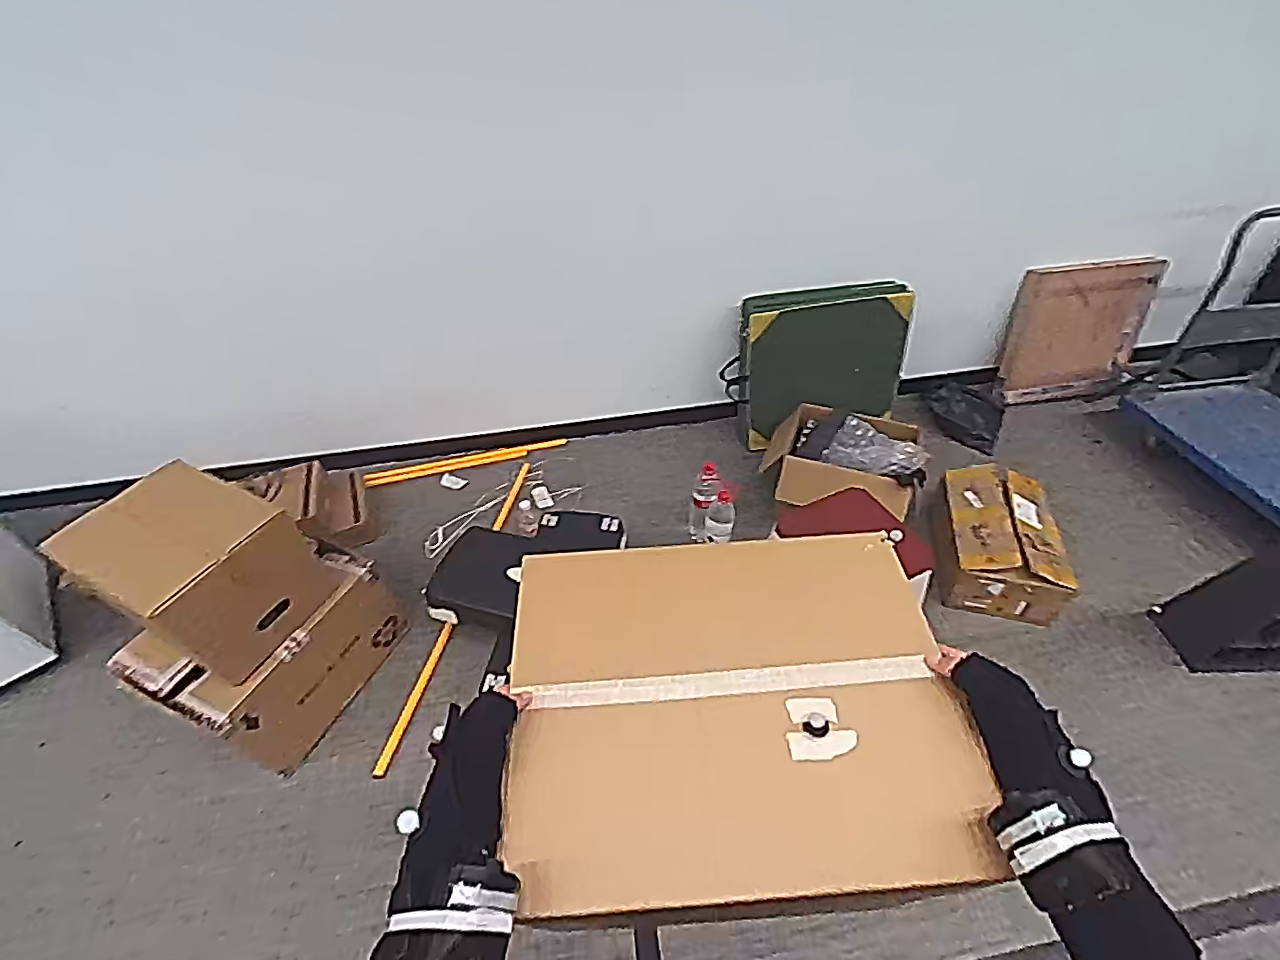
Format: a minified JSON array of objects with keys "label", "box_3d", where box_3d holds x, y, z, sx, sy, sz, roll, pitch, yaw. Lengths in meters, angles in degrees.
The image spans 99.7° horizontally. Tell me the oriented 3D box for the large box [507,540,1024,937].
[{"label":"large box","box_3d":[0.089,0.293,0.613,0.408,0.320,0.320,-3,49,-1]}]
